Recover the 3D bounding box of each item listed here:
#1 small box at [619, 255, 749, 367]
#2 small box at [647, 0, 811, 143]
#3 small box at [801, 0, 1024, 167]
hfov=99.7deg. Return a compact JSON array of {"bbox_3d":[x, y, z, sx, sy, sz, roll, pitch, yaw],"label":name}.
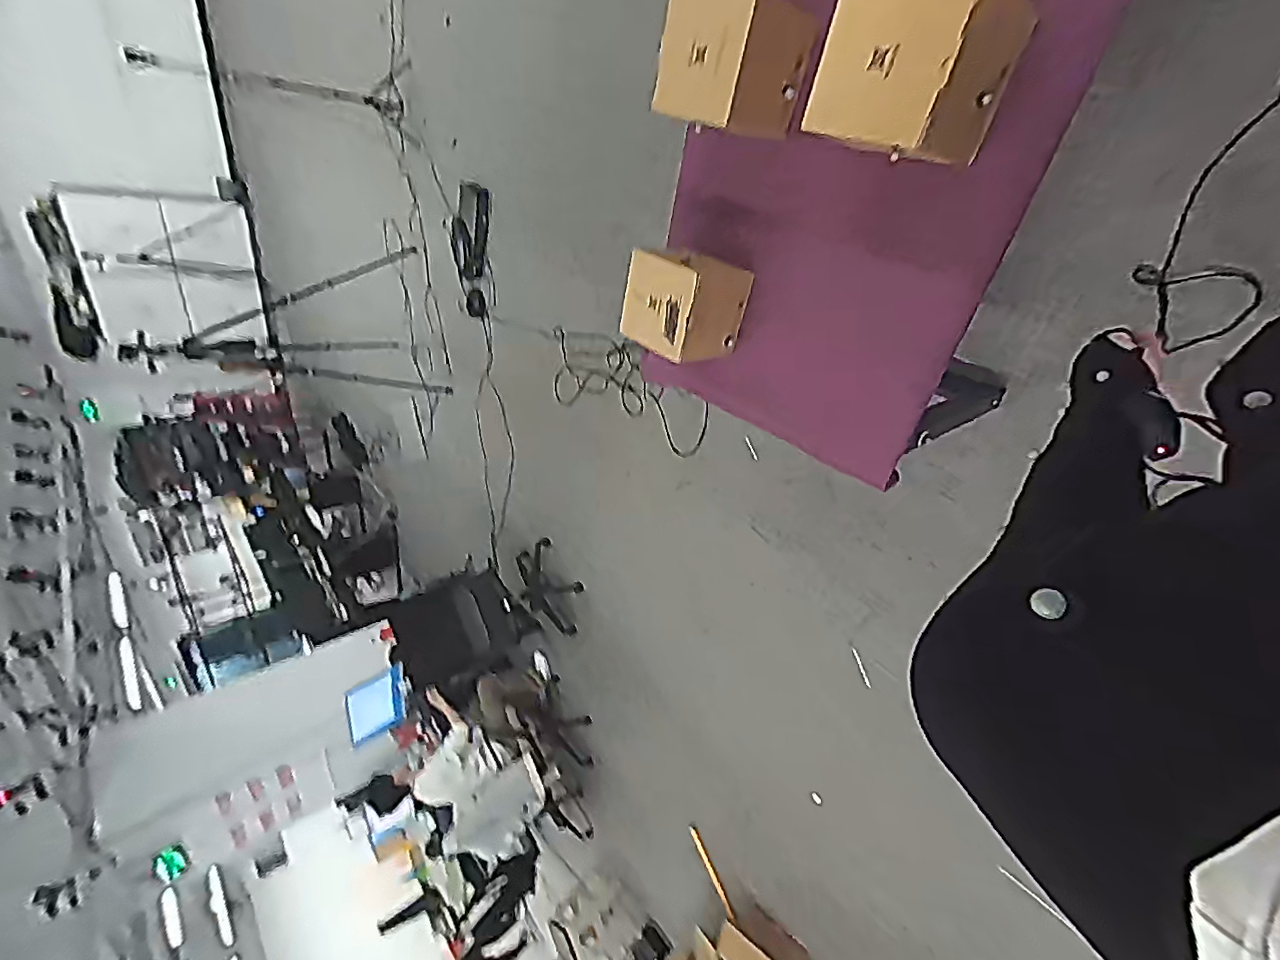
[{"bbox_3d":[0.087,-0.341,1.069,0.179,0.176,0.168,36,129,33],"label":"small box"},{"bbox_3d":[0.142,-0.663,0.880,0.179,0.176,0.168,37,131,32],"label":"small box"},{"bbox_3d":[0.350,-0.521,0.704,0.179,0.176,0.168,37,130,34],"label":"small box"}]
